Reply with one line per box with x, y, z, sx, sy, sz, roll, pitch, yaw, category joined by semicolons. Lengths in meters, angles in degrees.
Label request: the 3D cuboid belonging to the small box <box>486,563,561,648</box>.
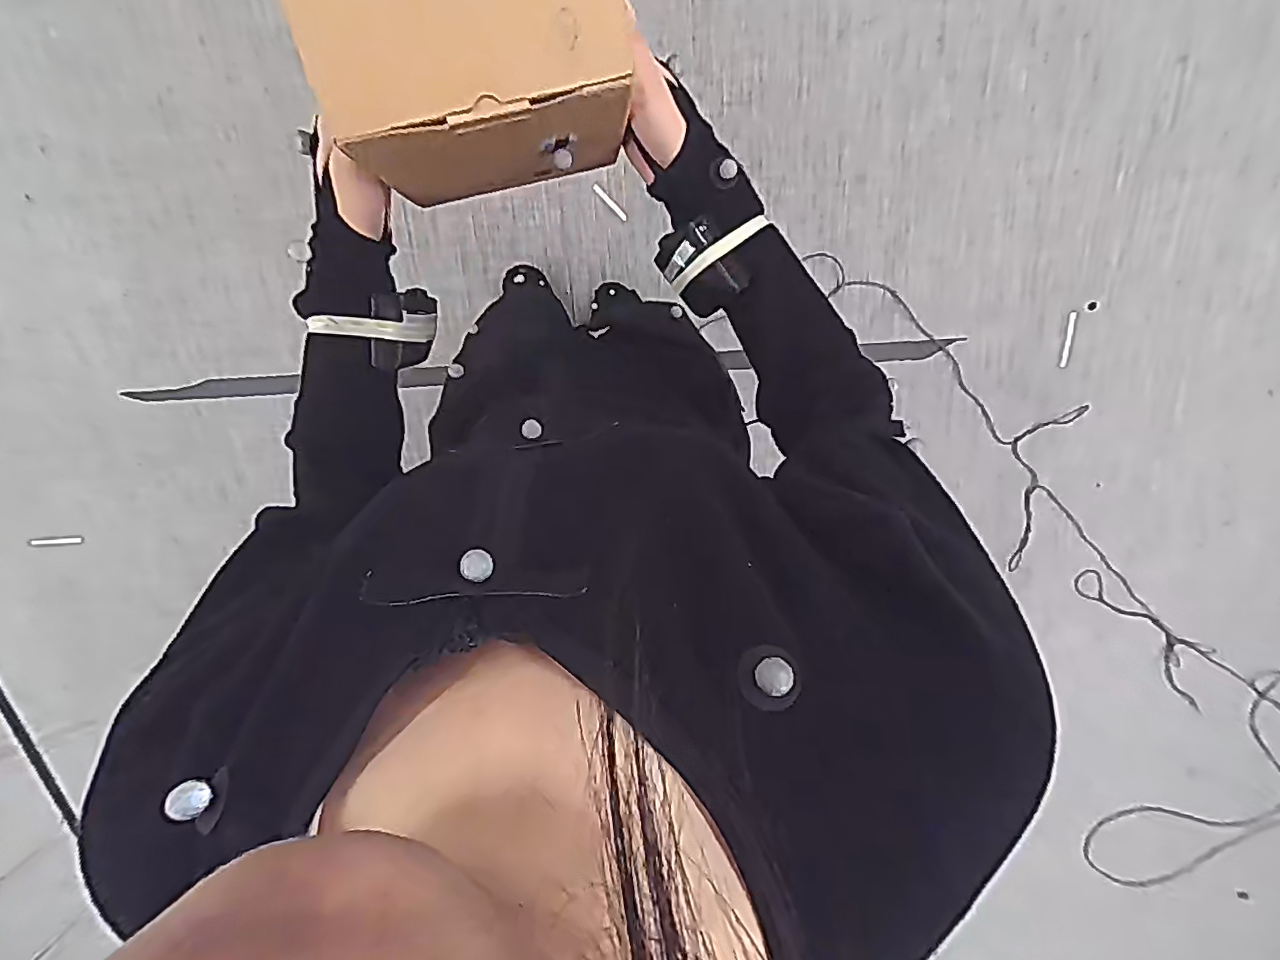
-0.328;0.358;1.557;0.168;0.176;0.179;-4;108;1;small box
